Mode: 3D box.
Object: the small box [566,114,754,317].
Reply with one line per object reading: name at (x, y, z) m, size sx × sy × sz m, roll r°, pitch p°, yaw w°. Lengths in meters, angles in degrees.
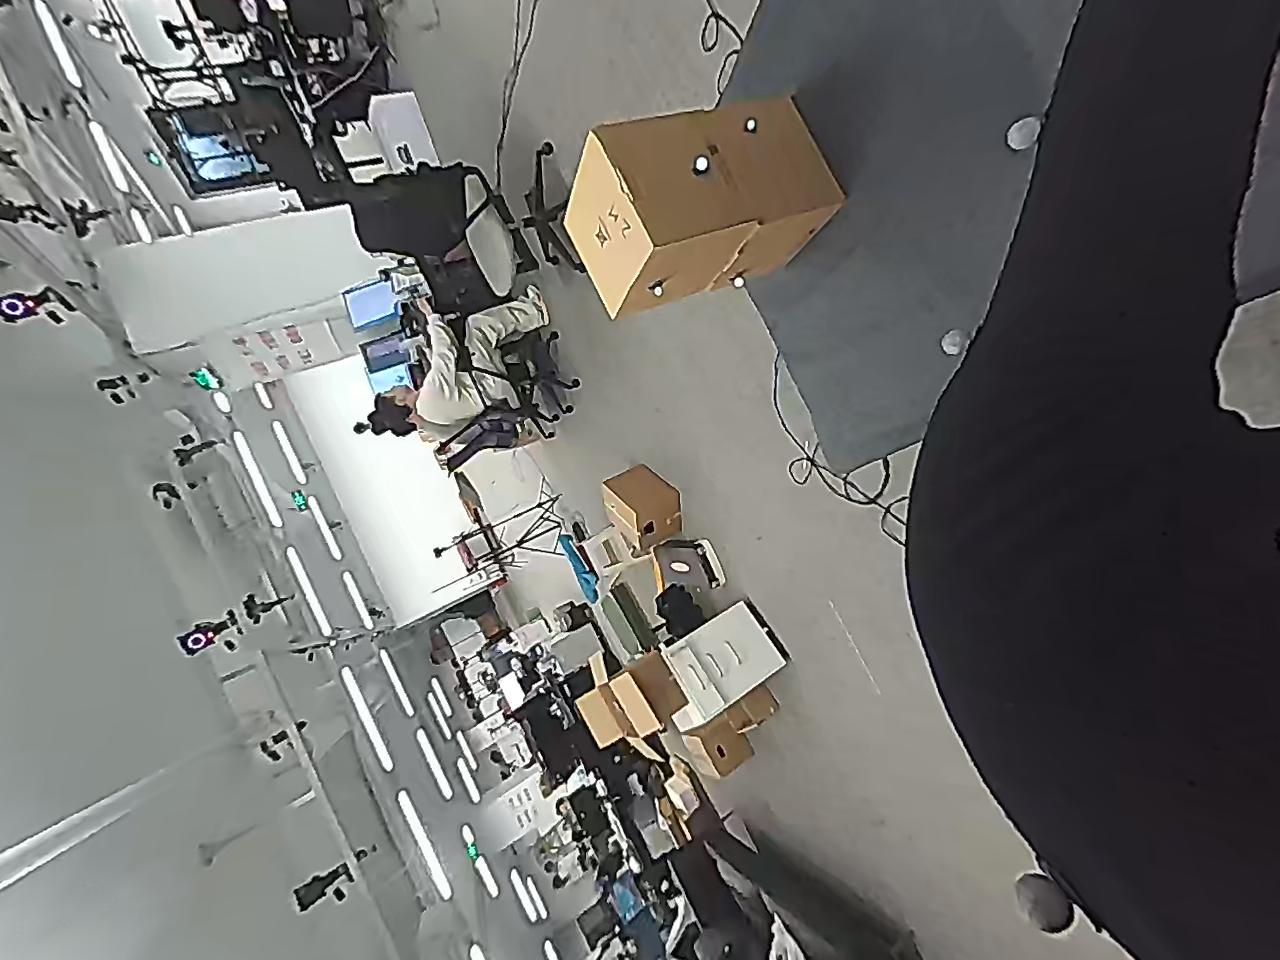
small box at (0.023, -0.354, 0.736) m, size 0.168 × 0.176 × 0.179 m, roll 62°, pitch 157°, yaw 3°
